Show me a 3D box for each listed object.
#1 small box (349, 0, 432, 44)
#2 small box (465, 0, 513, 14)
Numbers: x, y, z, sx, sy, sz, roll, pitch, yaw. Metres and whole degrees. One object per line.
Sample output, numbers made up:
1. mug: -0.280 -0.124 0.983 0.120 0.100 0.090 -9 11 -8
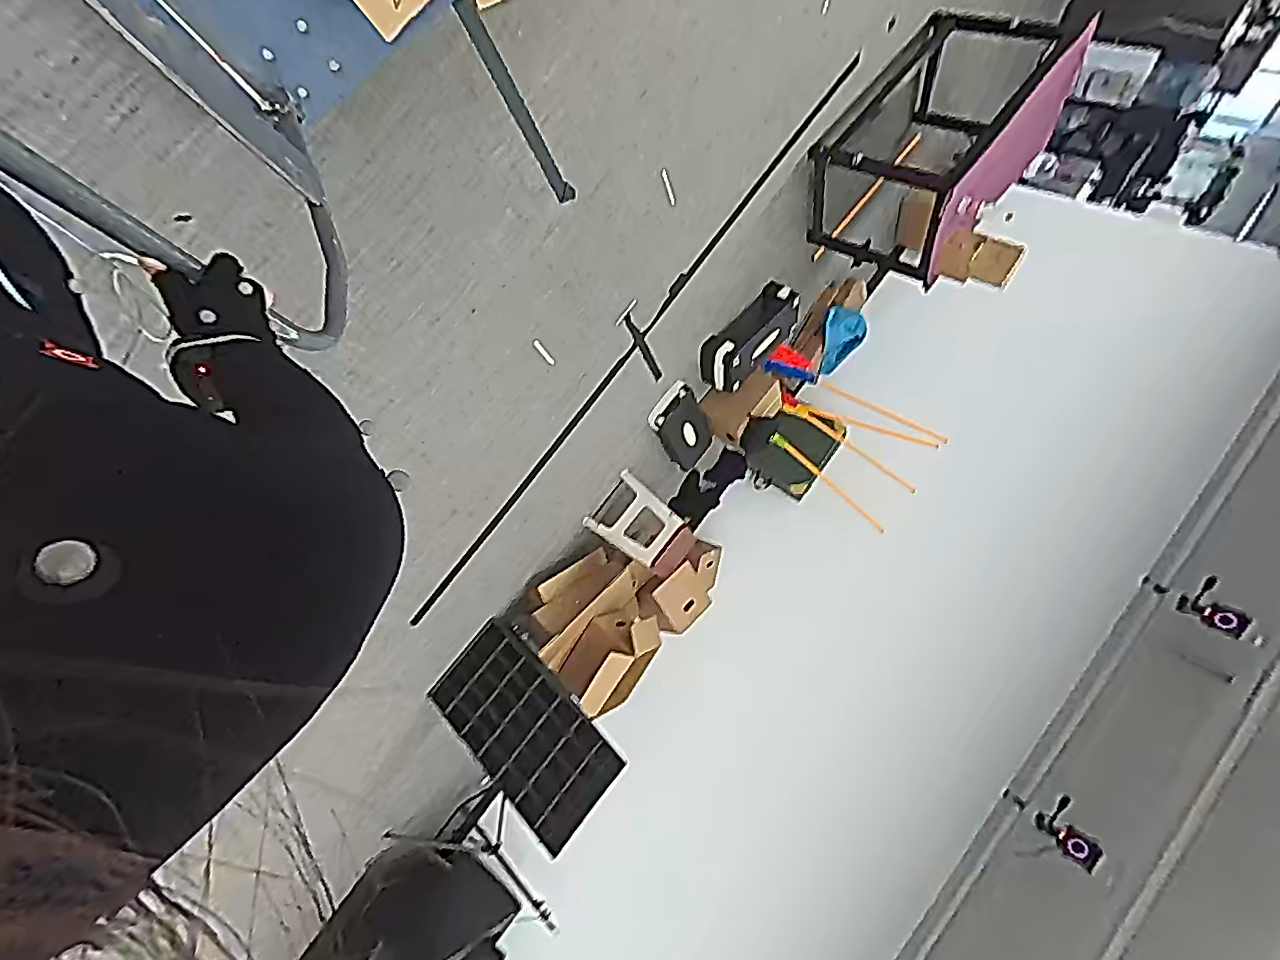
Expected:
1. small box: -0.431 -0.855 0.850 0.168 0.176 0.179 -38 152 9
2. small box: -0.255 -0.938 0.904 0.179 0.176 0.168 -29 152 -6
